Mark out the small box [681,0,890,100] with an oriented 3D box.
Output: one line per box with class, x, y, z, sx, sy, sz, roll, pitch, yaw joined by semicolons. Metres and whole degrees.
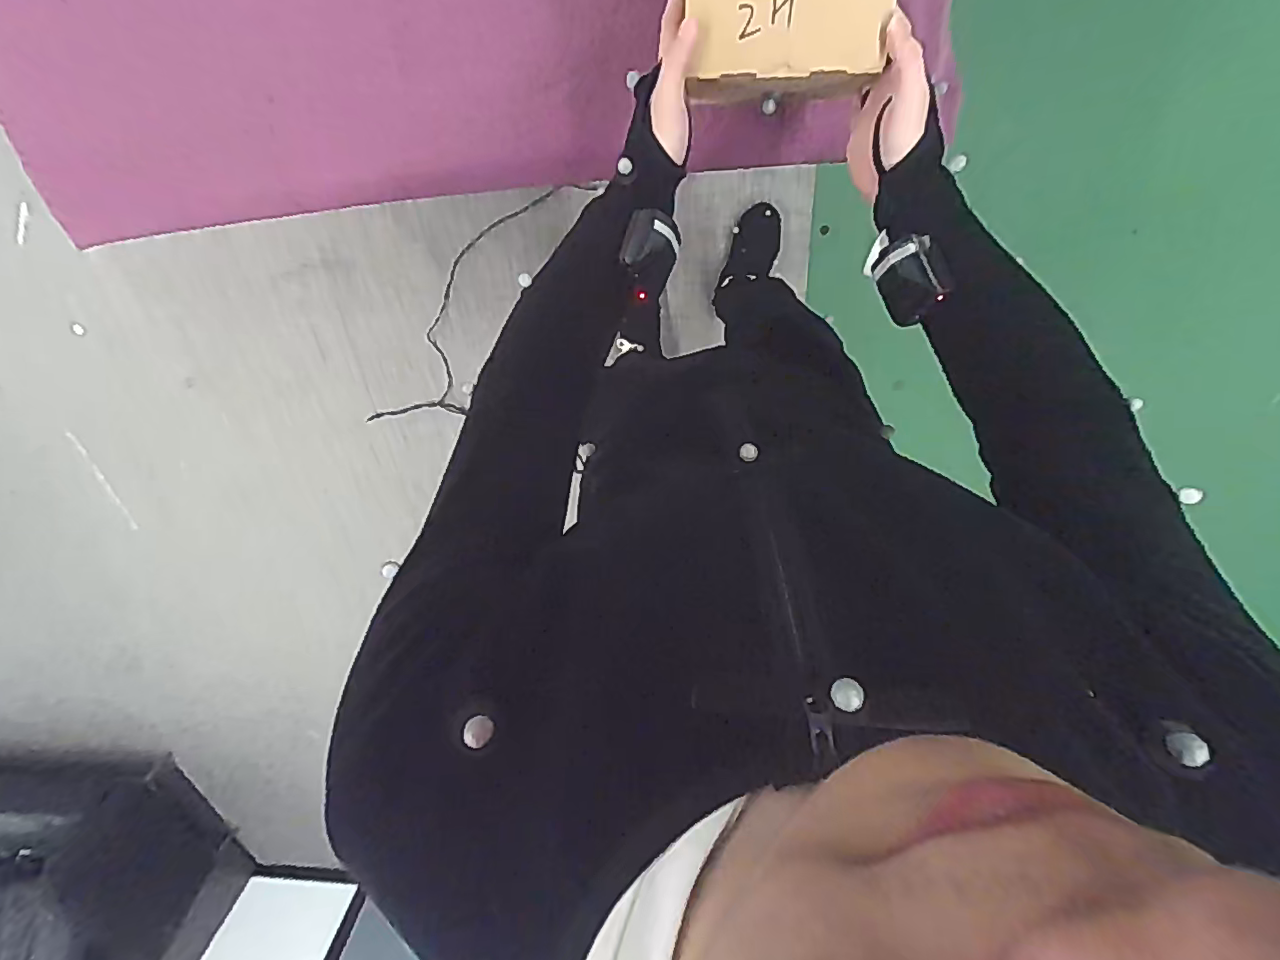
small box;0.123;-0.455;0.478;0.168;0.176;0.179;3;119;6
